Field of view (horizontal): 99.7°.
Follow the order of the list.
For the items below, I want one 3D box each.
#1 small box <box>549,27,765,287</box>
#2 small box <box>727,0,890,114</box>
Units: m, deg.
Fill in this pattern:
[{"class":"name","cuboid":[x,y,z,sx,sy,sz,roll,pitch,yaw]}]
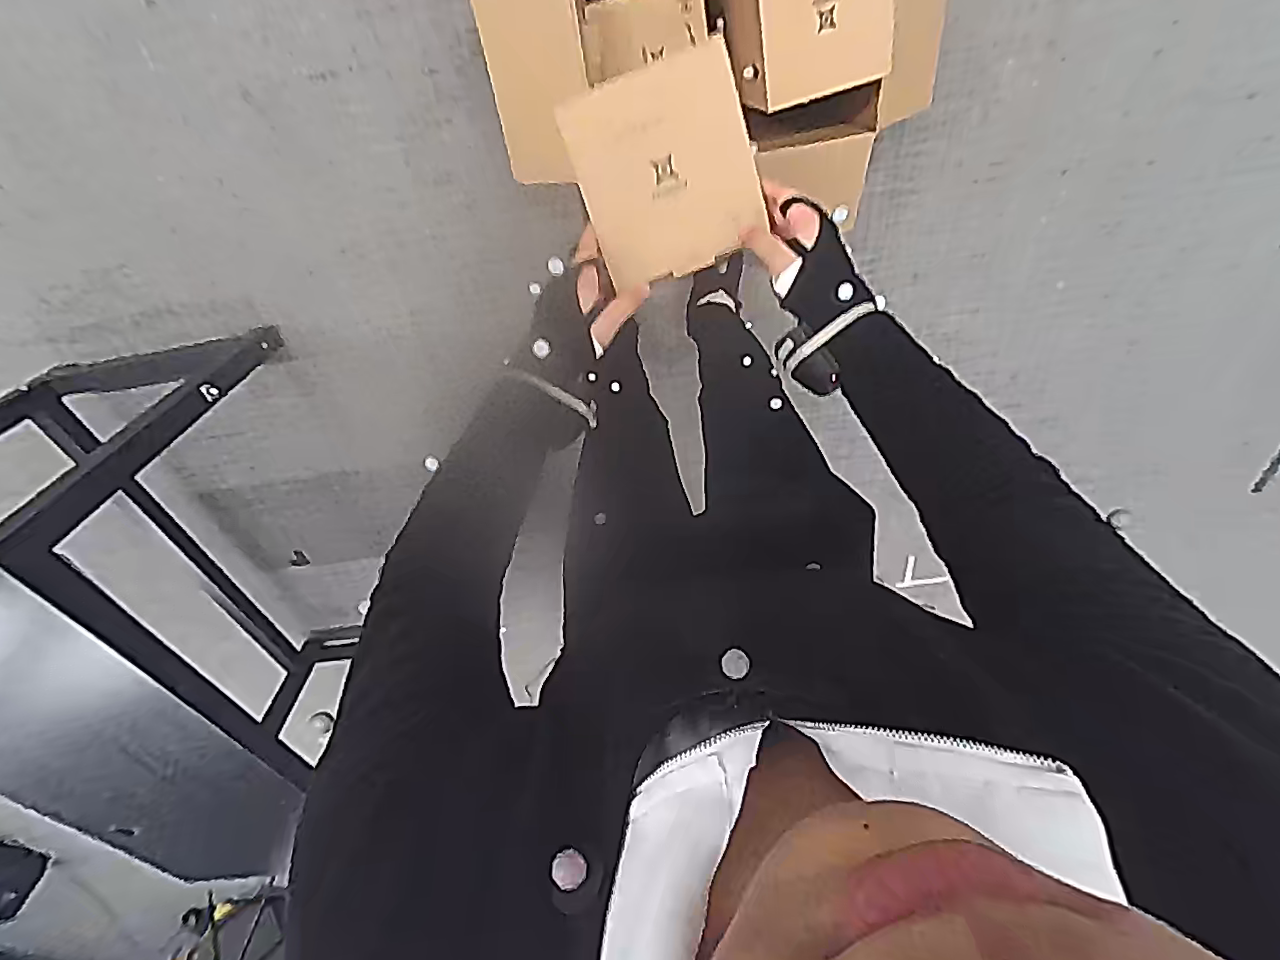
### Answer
[{"class":"small box","cuboid":[0.023,-0.327,0.586,0.168,0.176,0.179,-19,110,8]},{"class":"small box","cuboid":[0.217,-0.622,0.722,0.168,0.176,0.179,-14,128,5]}]
